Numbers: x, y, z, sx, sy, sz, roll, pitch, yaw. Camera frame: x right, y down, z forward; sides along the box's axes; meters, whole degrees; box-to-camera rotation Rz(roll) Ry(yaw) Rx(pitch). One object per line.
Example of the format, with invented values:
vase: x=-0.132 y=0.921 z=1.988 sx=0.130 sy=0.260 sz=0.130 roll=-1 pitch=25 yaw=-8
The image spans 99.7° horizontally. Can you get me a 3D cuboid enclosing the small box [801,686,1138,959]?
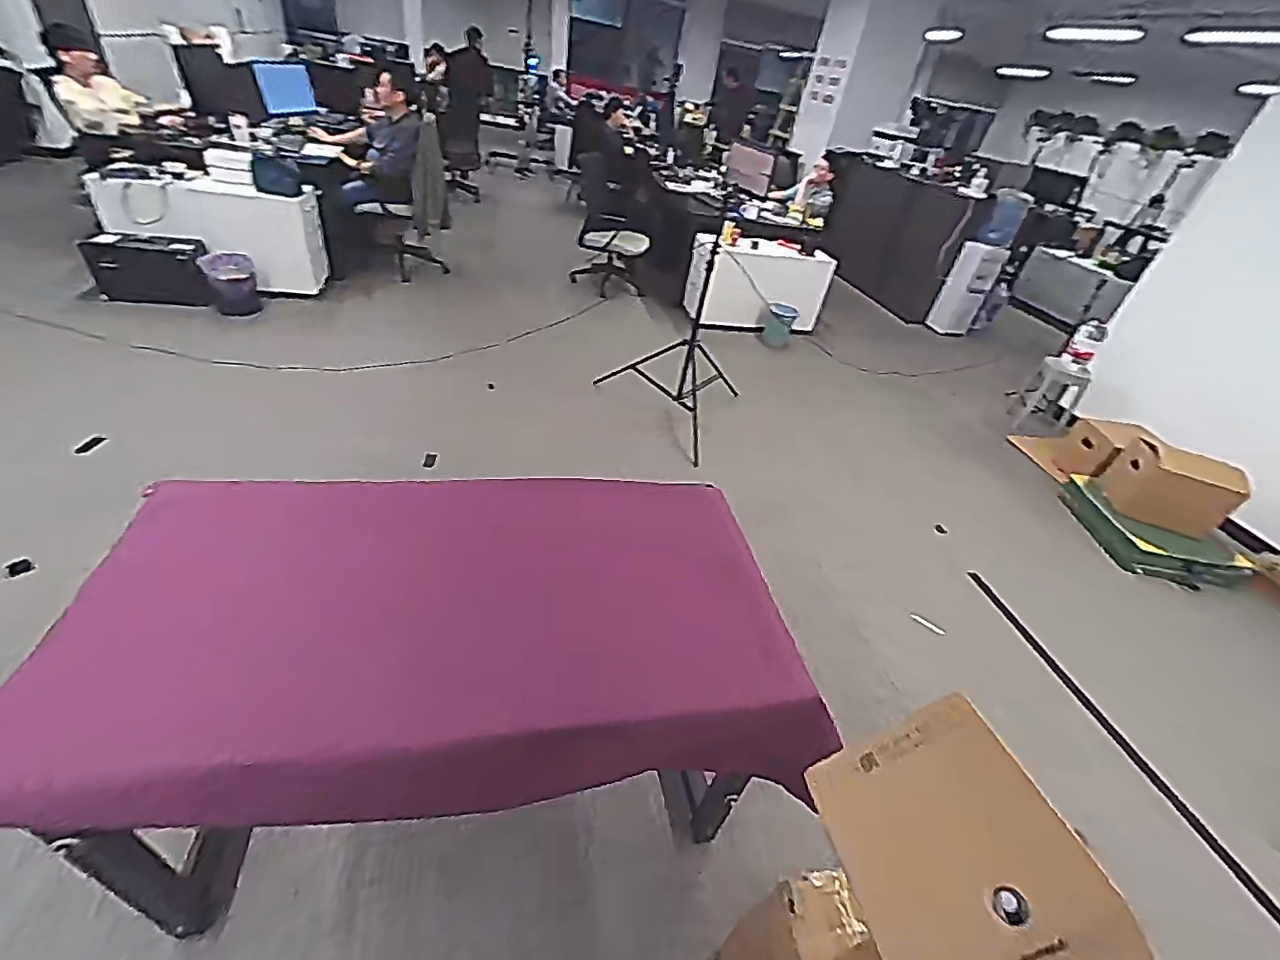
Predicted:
small box: x=0.274 y=0.317 z=0.474 sx=0.168 sy=0.179 sz=0.176 roll=-35 pitch=31 yaw=10
